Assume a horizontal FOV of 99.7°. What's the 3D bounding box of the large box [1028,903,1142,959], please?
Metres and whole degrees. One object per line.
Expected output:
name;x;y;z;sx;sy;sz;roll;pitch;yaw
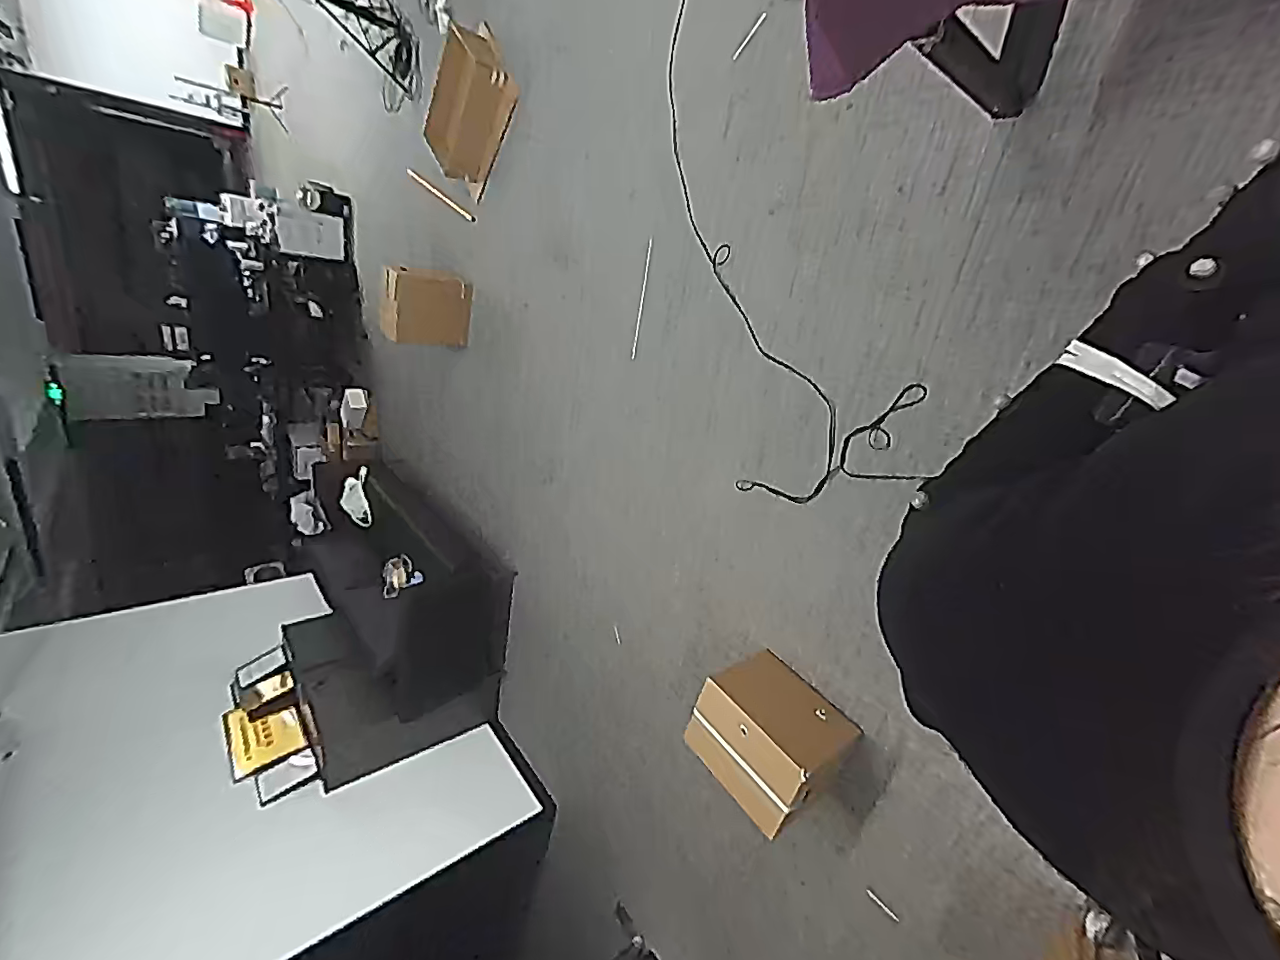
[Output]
large box;1.003;1.279;1.189;0.320;0.320;0.408;30;119;43
